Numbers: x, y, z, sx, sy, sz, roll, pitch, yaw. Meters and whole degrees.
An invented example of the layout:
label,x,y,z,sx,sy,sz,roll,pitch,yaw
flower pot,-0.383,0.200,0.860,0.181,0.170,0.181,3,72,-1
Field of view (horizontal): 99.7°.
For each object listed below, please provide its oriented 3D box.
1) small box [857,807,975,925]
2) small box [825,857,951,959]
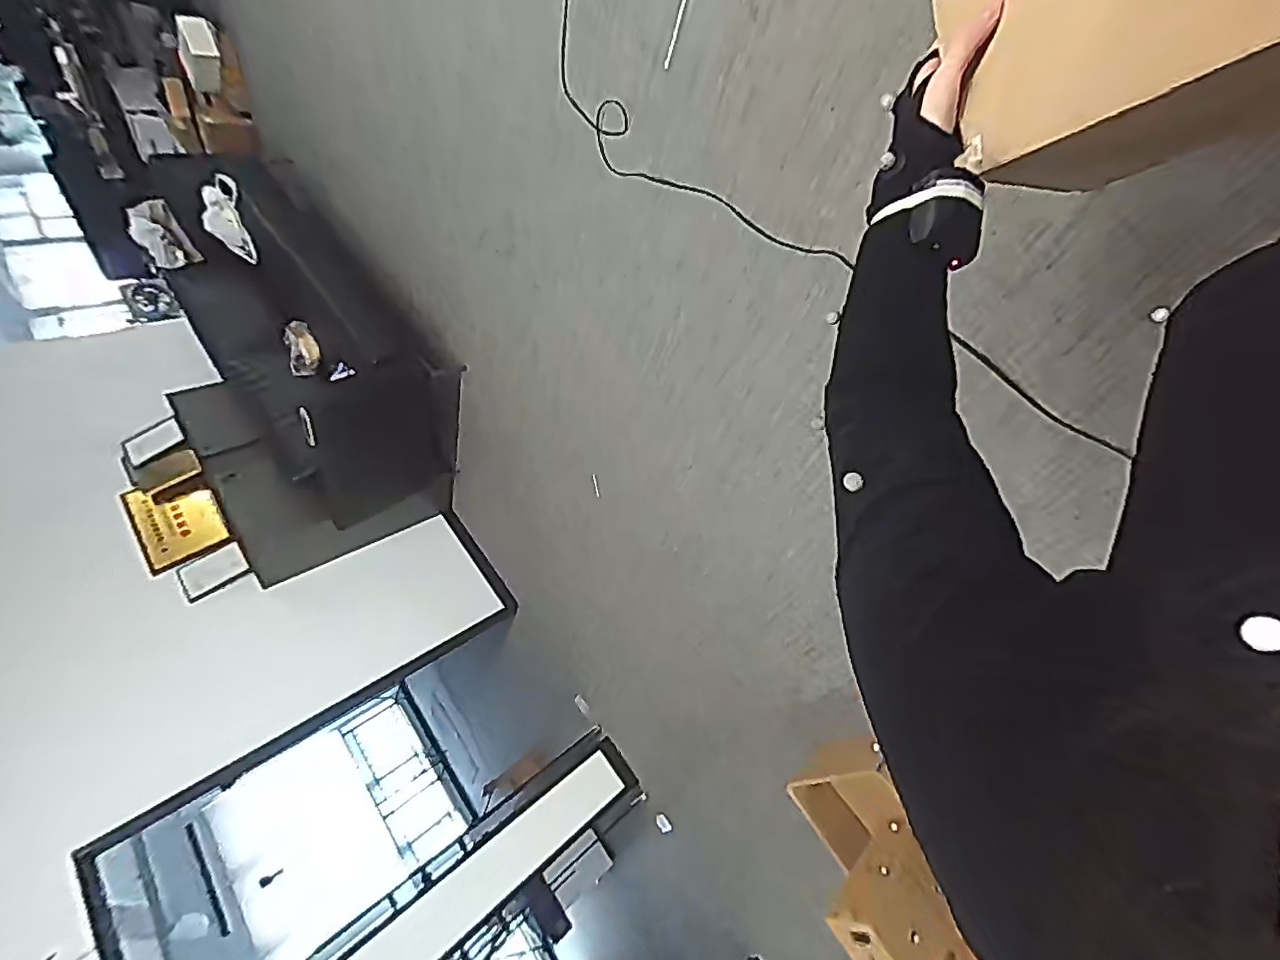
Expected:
label,x,y,z,sx,sy,sz,roll,pitch,yaw
small box,0.703,0.970,1.372,0.179,0.176,0.168,53,143,15
small box,0.584,1.030,1.276,0.179,0.176,0.168,51,143,13
